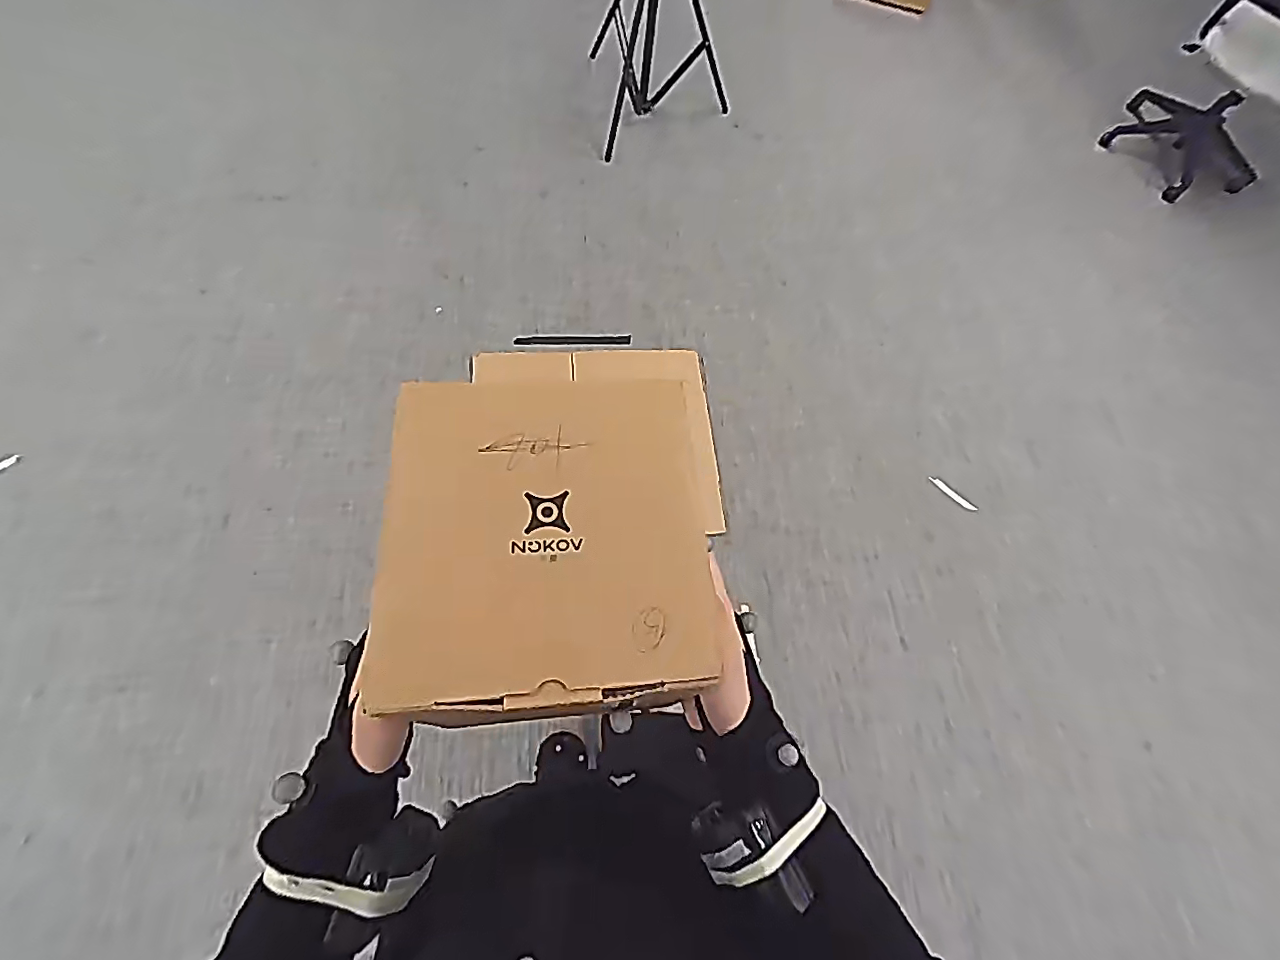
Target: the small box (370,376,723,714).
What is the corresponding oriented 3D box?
[{"bbox_3d":[-0.056,0.053,0.355,0.168,0.176,0.179,-2,64,-9],"label":"small box"}]
